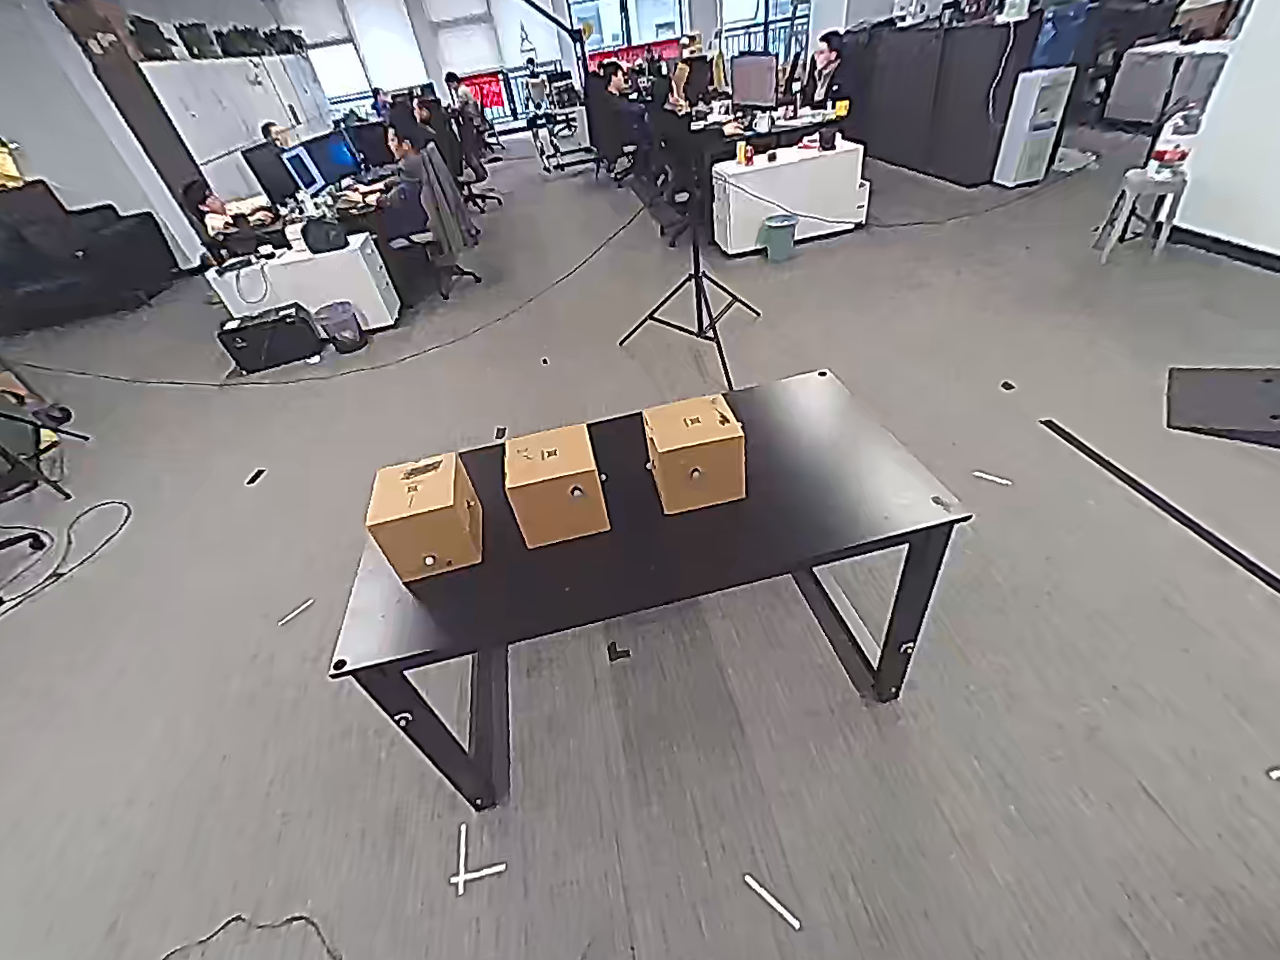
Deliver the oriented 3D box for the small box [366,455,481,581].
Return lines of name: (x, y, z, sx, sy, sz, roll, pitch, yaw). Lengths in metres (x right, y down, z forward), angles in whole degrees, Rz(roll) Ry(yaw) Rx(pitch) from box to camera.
small box: (-0.434, 0.078, 1.115, 0.168, 0.176, 0.179, -15, 41, -5)

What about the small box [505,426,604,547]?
small box: (-0.176, 0.015, 1.132, 0.179, 0.176, 0.168, -13, 40, -4)

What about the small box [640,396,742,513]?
small box: (0.110, -0.051, 1.152, 0.179, 0.176, 0.168, -13, 40, -1)
